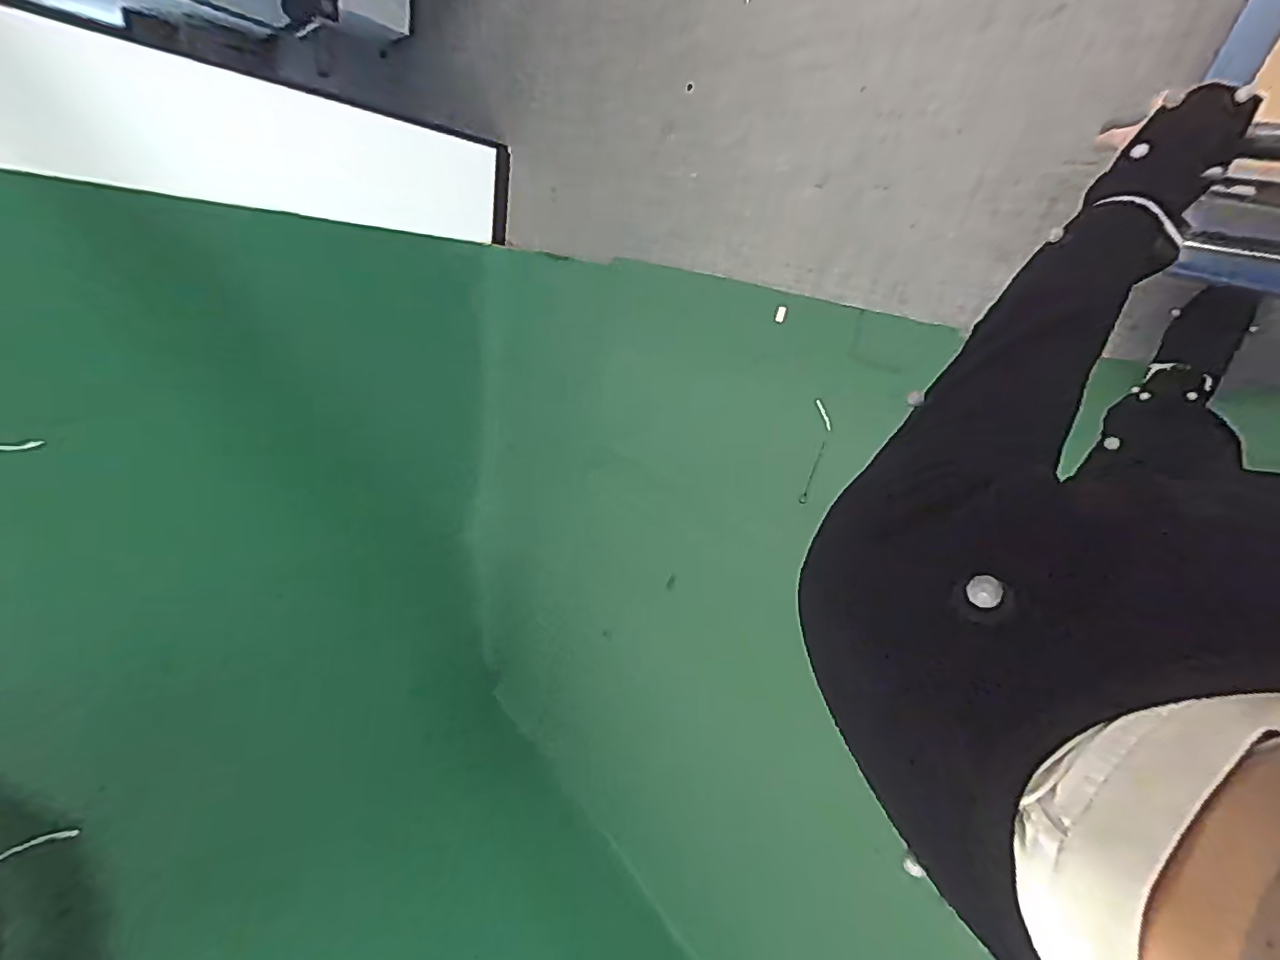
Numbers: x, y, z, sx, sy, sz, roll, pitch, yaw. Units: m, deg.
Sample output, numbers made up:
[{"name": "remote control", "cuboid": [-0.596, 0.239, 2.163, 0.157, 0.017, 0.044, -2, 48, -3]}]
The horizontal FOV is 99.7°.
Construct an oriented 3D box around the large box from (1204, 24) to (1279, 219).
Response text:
[{"name": "large box", "cuboid": [1.060, -0.576, 0.707, 0.320, 0.320, 0.408, 36, 121, 37]}]
